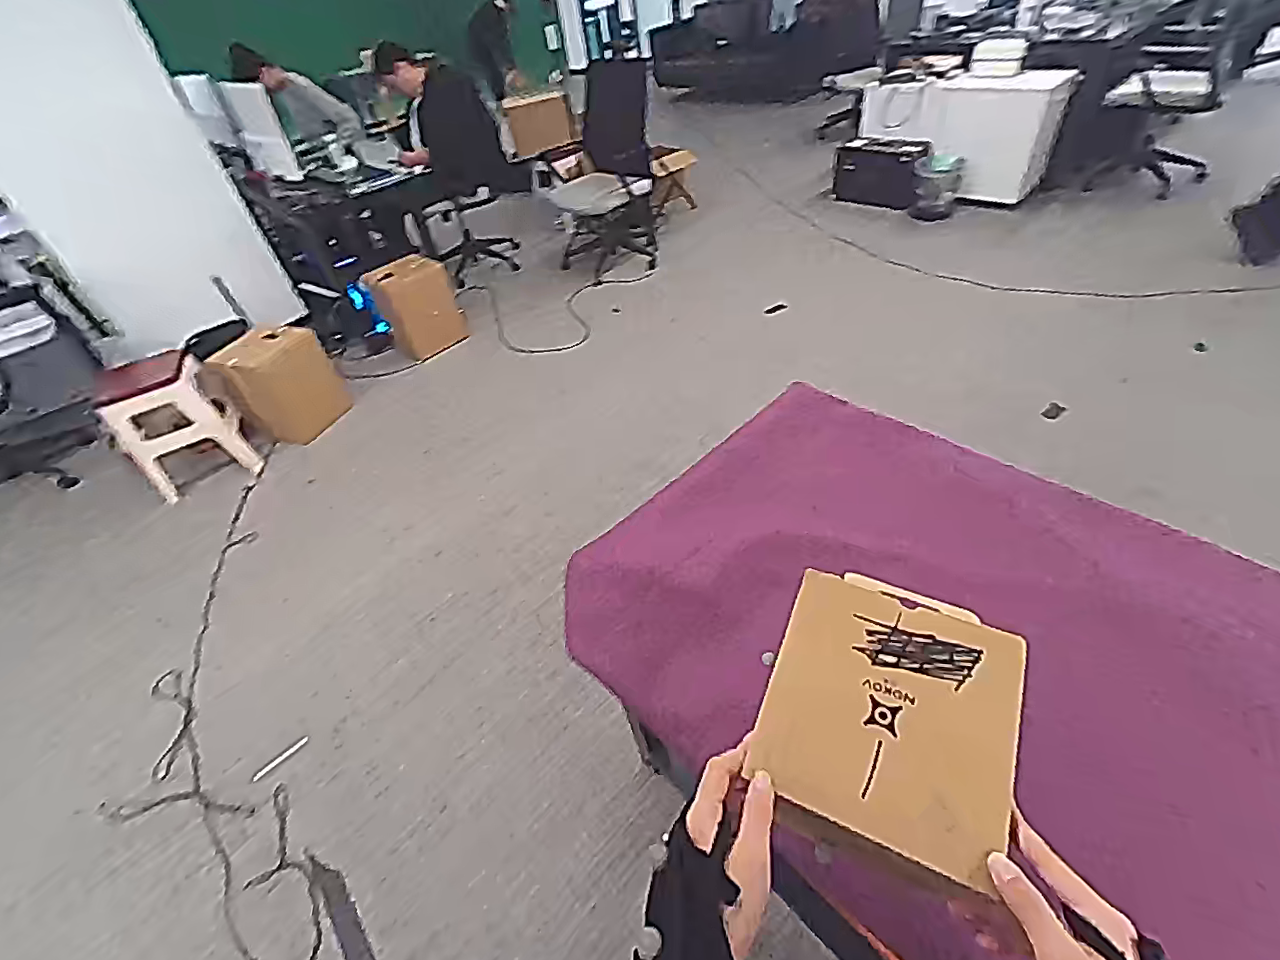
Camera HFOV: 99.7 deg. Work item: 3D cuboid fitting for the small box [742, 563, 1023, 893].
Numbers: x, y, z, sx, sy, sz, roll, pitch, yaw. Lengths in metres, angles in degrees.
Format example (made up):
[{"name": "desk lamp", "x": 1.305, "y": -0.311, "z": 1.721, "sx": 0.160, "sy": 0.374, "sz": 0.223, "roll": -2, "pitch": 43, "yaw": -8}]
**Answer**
[{"name": "small box", "x": 0.188, "y": 0.203, "z": 0.451, "sx": 0.168, "sy": 0.176, "sz": 0.179, "roll": 16, "pitch": 59, "yaw": 21}]
